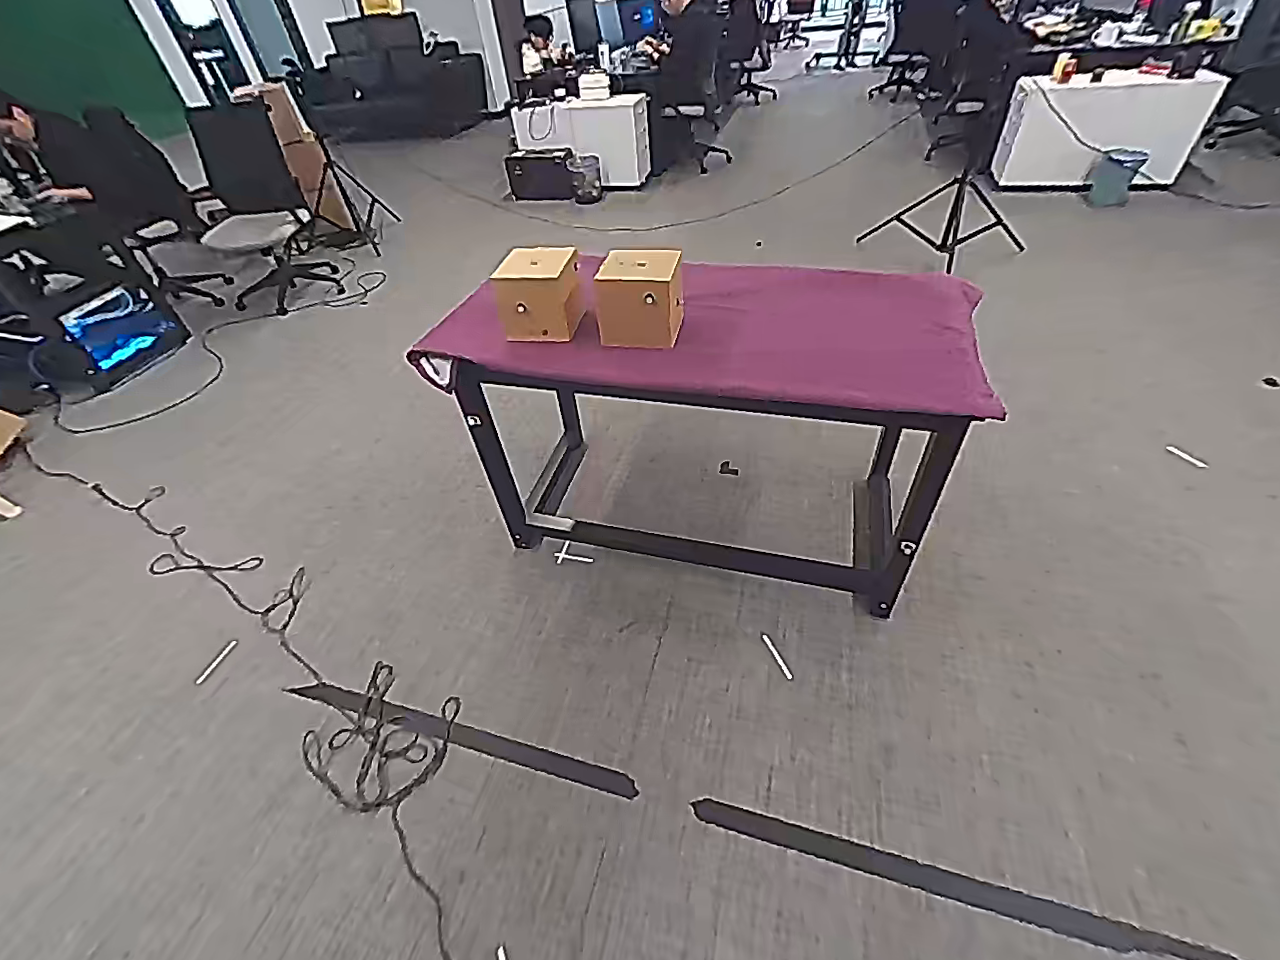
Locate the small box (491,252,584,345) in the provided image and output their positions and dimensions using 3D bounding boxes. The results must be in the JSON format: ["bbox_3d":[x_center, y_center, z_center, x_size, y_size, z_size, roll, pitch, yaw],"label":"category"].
[{"bbox_3d":[-0.245,-0.450,1.349,0.168,0.176,0.179,3,44,10],"label":"small box"}]

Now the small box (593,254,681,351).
[{"bbox_3d":[0.001,-0.420,1.285,0.179,0.176,0.168,5,44,11],"label":"small box"}]
